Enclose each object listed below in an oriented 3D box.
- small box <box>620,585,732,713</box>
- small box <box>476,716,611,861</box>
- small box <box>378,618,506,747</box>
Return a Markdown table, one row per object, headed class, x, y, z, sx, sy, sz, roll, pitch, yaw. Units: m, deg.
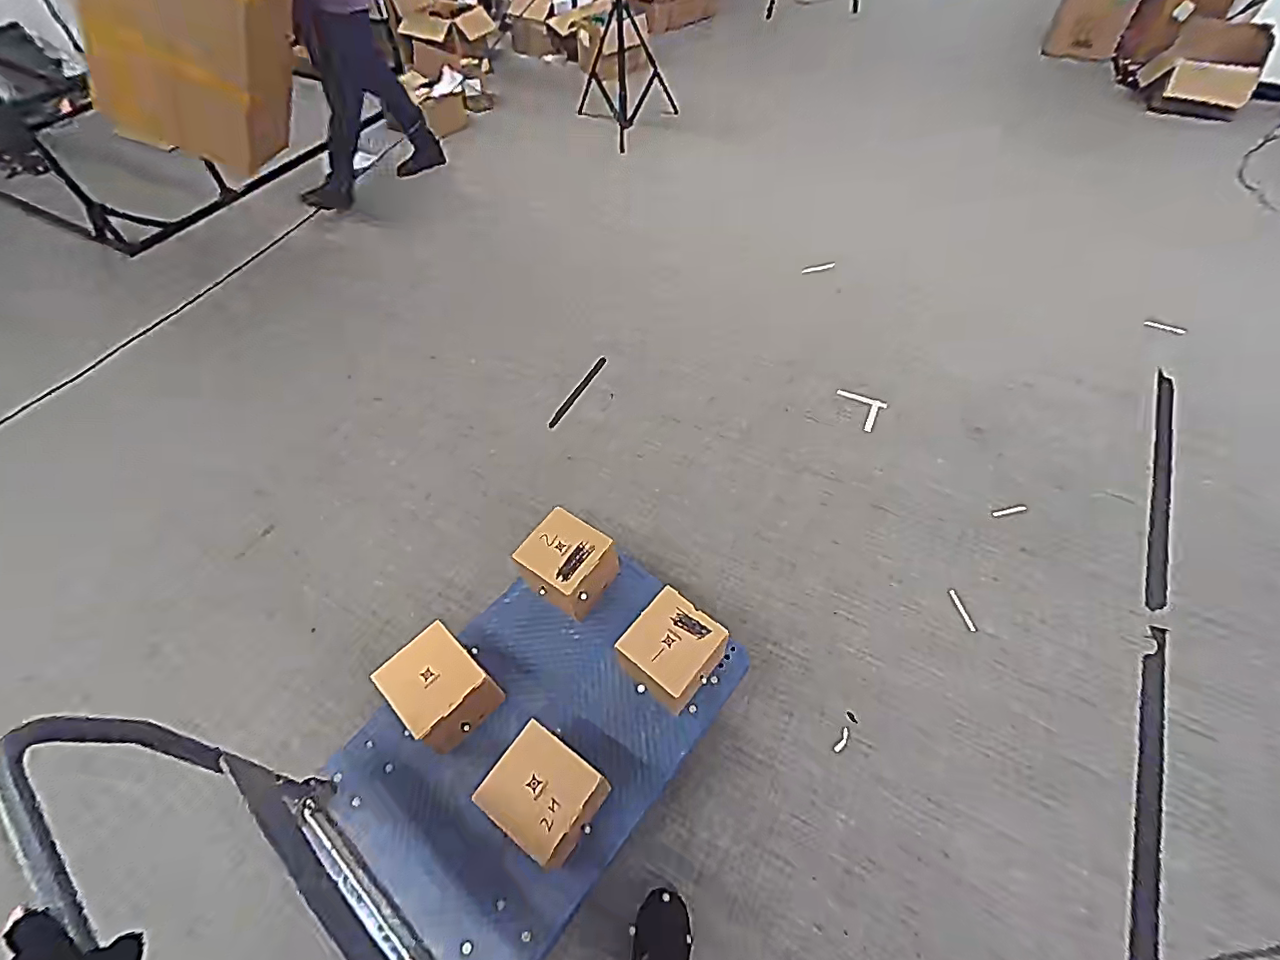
| class | x | y | z | sx | sy | sz | roll | pitch | yaw |
| --- | --- | --- | --- | --- | --- | --- | --- | --- | --- |
| small box | 0.076 | 0.368 | 1.168 | 0.168 | 0.176 | 0.179 | 35 | 64 | 24 |
| small box | -0.173 | 0.587 | 1.023 | 0.179 | 0.176 | 0.168 | 30 | 61 | 22 |
| small box | -0.412 | 0.433 | 1.147 | 0.179 | 0.176 | 0.168 | 39 | 64 | 24 |
